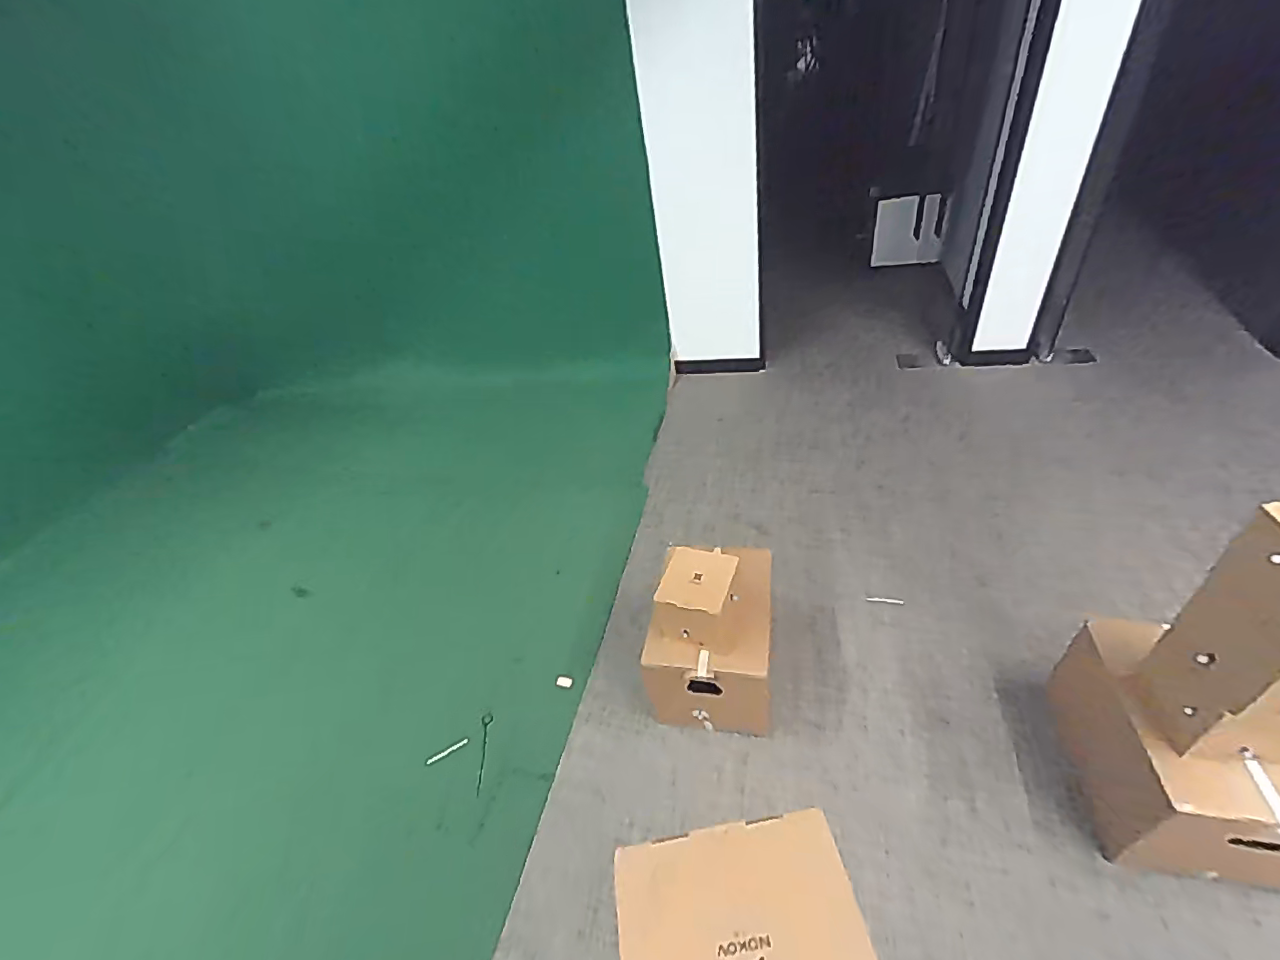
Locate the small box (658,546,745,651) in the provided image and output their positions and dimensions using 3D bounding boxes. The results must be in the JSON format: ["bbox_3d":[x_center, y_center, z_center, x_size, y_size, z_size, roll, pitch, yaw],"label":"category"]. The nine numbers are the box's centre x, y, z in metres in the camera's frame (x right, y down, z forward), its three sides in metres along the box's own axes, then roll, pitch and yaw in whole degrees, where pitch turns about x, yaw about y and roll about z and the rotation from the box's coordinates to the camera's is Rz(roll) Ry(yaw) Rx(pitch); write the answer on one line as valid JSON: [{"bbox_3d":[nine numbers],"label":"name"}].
[{"bbox_3d":[0.161,0.295,1.353,0.168,0.176,0.179,7,44,25],"label":"small box"}]

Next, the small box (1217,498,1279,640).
[{"bbox_3d":[1.036,0.139,0.798,0.168,0.176,0.179,-7,41,9],"label":"small box"}]

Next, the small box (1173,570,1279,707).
[{"bbox_3d":[1.068,0.264,0.902,0.168,0.176,0.179,-6,41,10],"label":"small box"}]

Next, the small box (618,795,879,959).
[{"bbox_3d":[0.082,0.374,0.404,0.168,0.176,0.179,-11,39,0],"label":"small box"}]

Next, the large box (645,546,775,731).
[{"bbox_3d":[0.222,0.444,1.545,0.320,0.320,0.408,0,41,16],"label":"large box"}]
